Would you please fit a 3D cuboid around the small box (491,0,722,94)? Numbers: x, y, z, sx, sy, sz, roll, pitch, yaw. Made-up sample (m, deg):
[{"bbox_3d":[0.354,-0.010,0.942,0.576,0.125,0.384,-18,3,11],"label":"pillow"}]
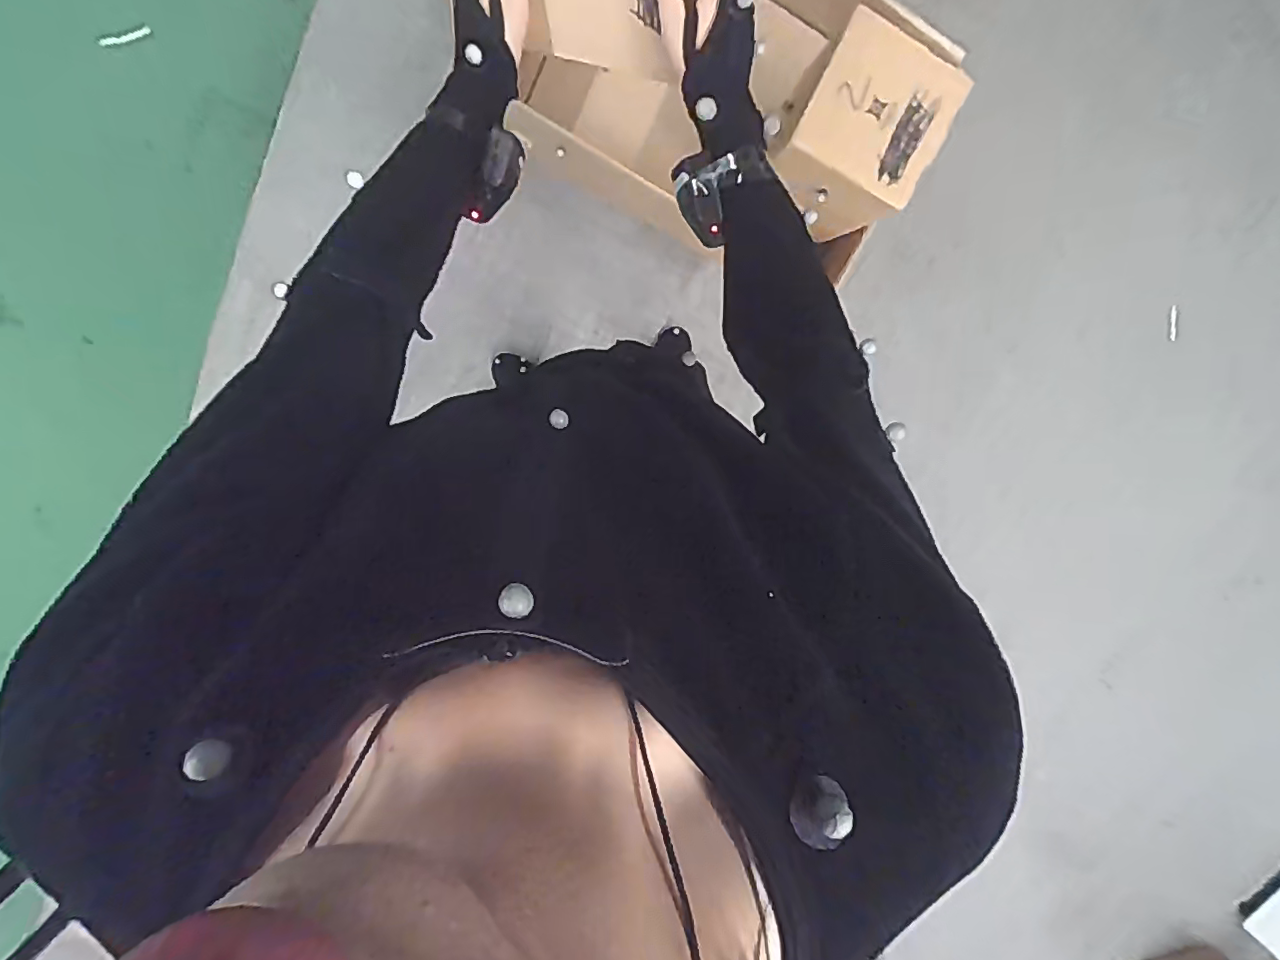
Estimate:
[{"bbox_3d":[-0.014,-0.459,0.461,0.179,0.176,0.168,16,136,5],"label":"small box"}]
